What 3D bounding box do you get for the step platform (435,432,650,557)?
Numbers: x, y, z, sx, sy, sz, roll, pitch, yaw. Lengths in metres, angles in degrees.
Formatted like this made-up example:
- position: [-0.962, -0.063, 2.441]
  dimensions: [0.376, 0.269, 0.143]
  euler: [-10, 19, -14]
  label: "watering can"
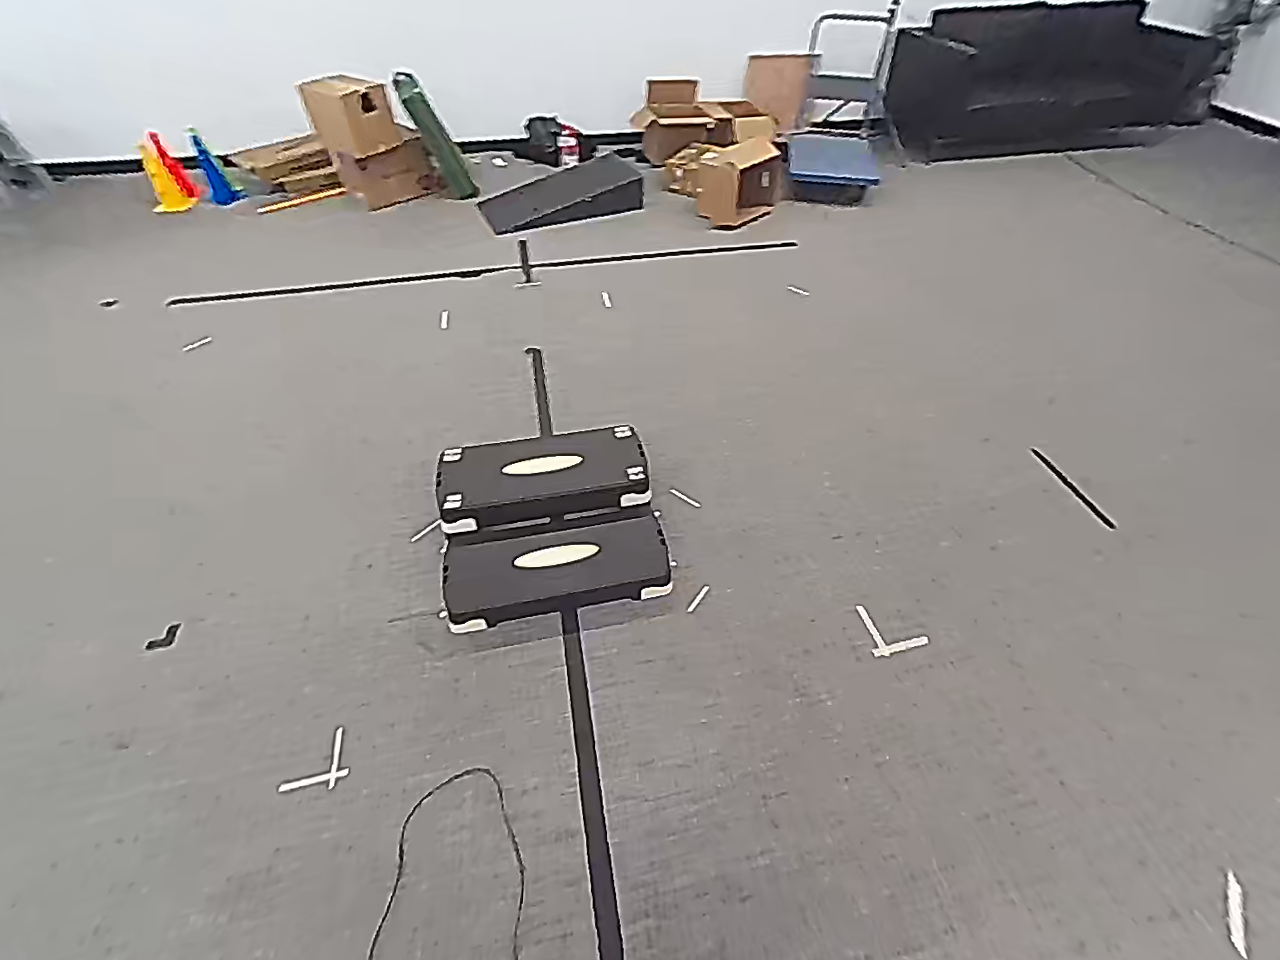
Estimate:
- position: [-0.311, 0.035, 1.778]
  dimensions: [0.684, 0.204, 0.286]
  euler: [-9, 50, -10]
  label: "step platform"
